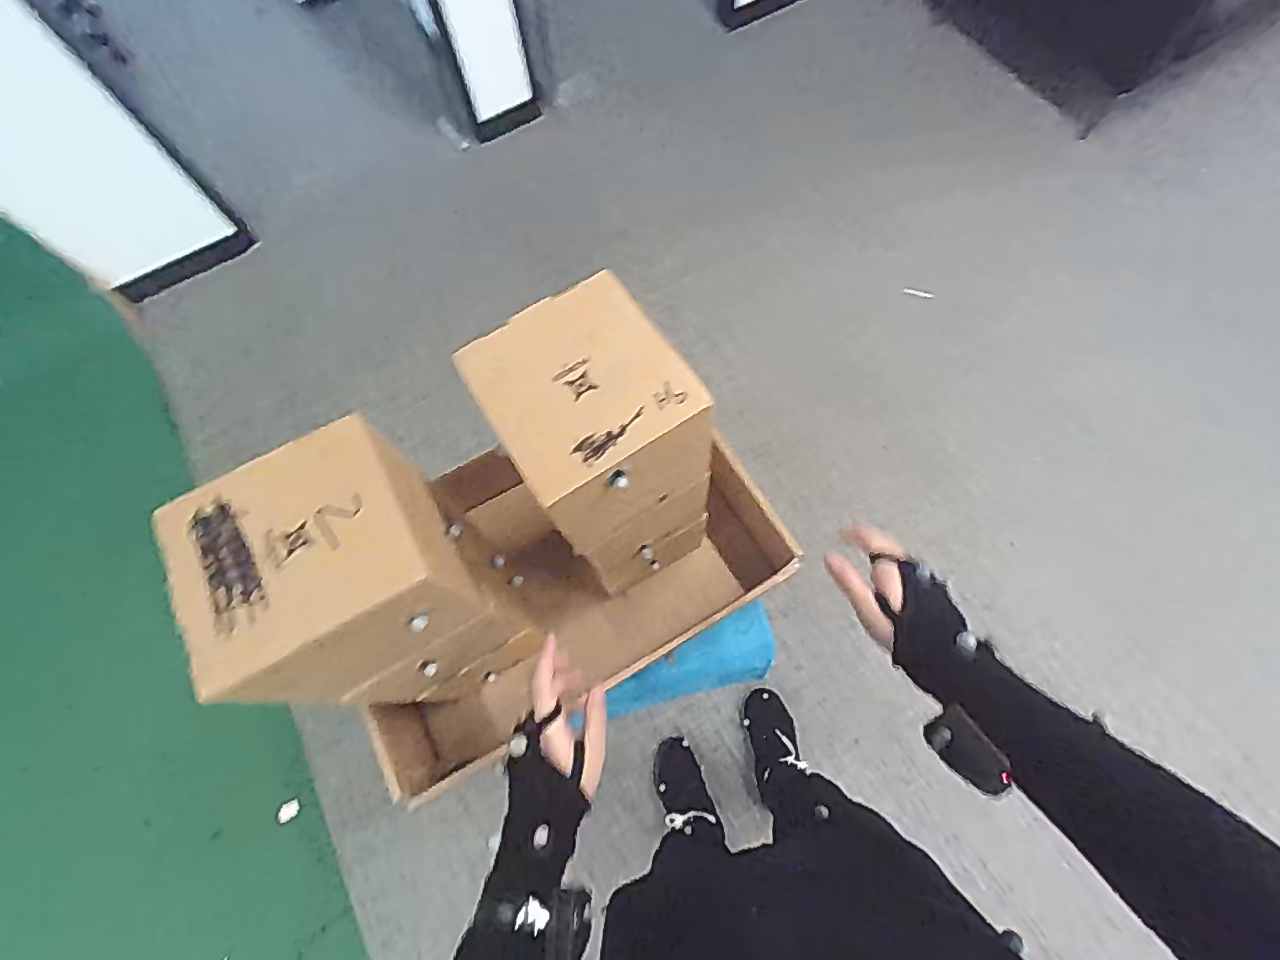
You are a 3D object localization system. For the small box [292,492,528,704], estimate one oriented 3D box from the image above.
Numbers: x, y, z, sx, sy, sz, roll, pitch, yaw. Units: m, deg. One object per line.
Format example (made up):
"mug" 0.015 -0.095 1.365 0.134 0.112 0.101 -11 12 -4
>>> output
"small box" -0.259 0.148 0.644 0.179 0.176 0.168 -31 70 -11

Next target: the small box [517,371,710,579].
"small box" -0.029 0.003 0.689 0.168 0.176 0.179 -32 70 -7
